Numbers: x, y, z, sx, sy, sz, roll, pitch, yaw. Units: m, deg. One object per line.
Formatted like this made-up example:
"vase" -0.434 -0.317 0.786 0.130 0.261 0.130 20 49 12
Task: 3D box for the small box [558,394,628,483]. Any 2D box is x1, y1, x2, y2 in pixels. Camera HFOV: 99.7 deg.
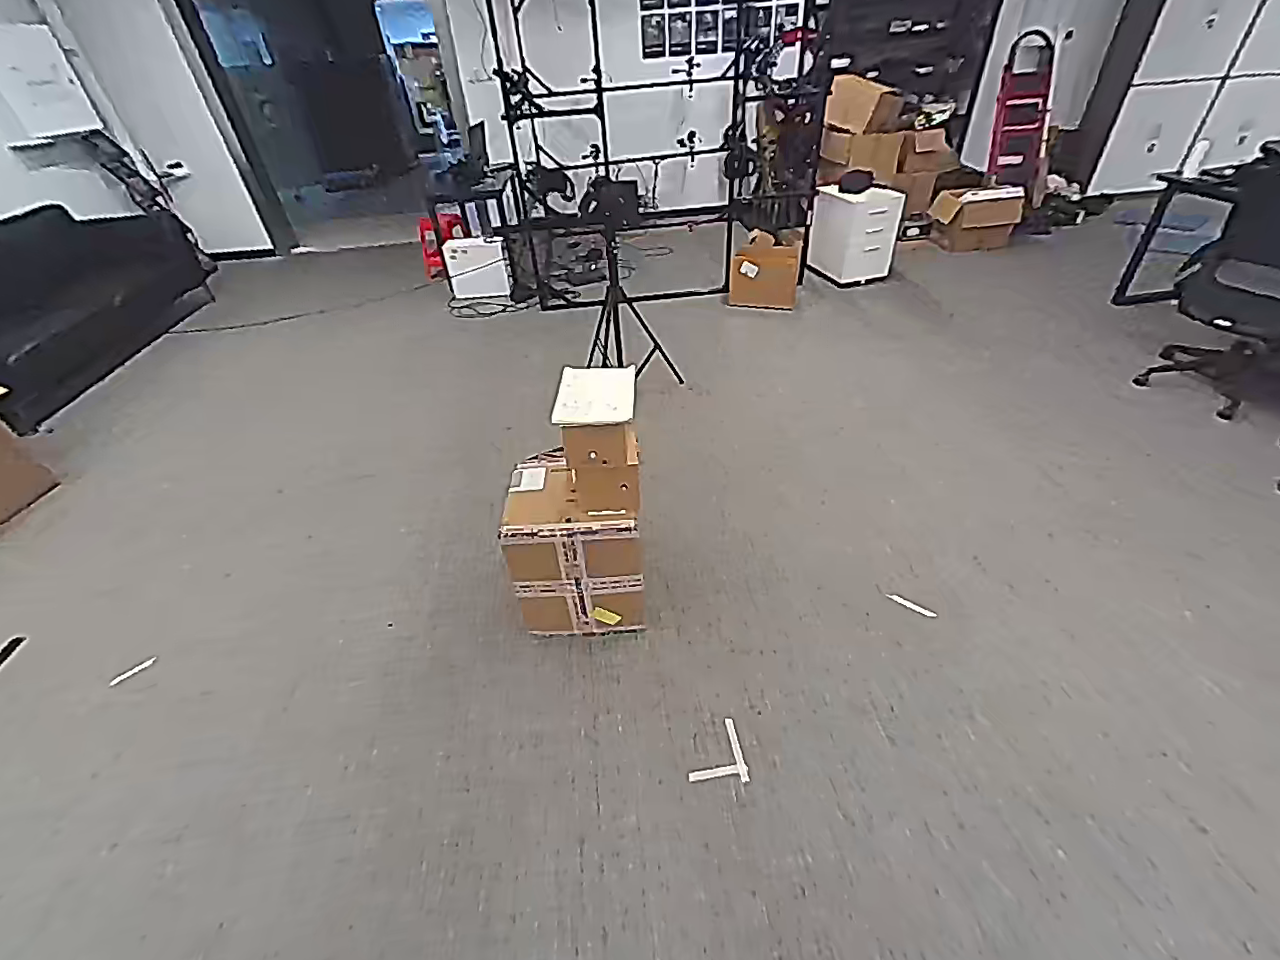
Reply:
"small box" -0.118 -0.111 1.438 0.168 0.176 0.179 0 41 1

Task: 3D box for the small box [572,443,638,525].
"small box" -0.095 0.013 1.545 0.179 0.176 0.168 -3 39 -1
